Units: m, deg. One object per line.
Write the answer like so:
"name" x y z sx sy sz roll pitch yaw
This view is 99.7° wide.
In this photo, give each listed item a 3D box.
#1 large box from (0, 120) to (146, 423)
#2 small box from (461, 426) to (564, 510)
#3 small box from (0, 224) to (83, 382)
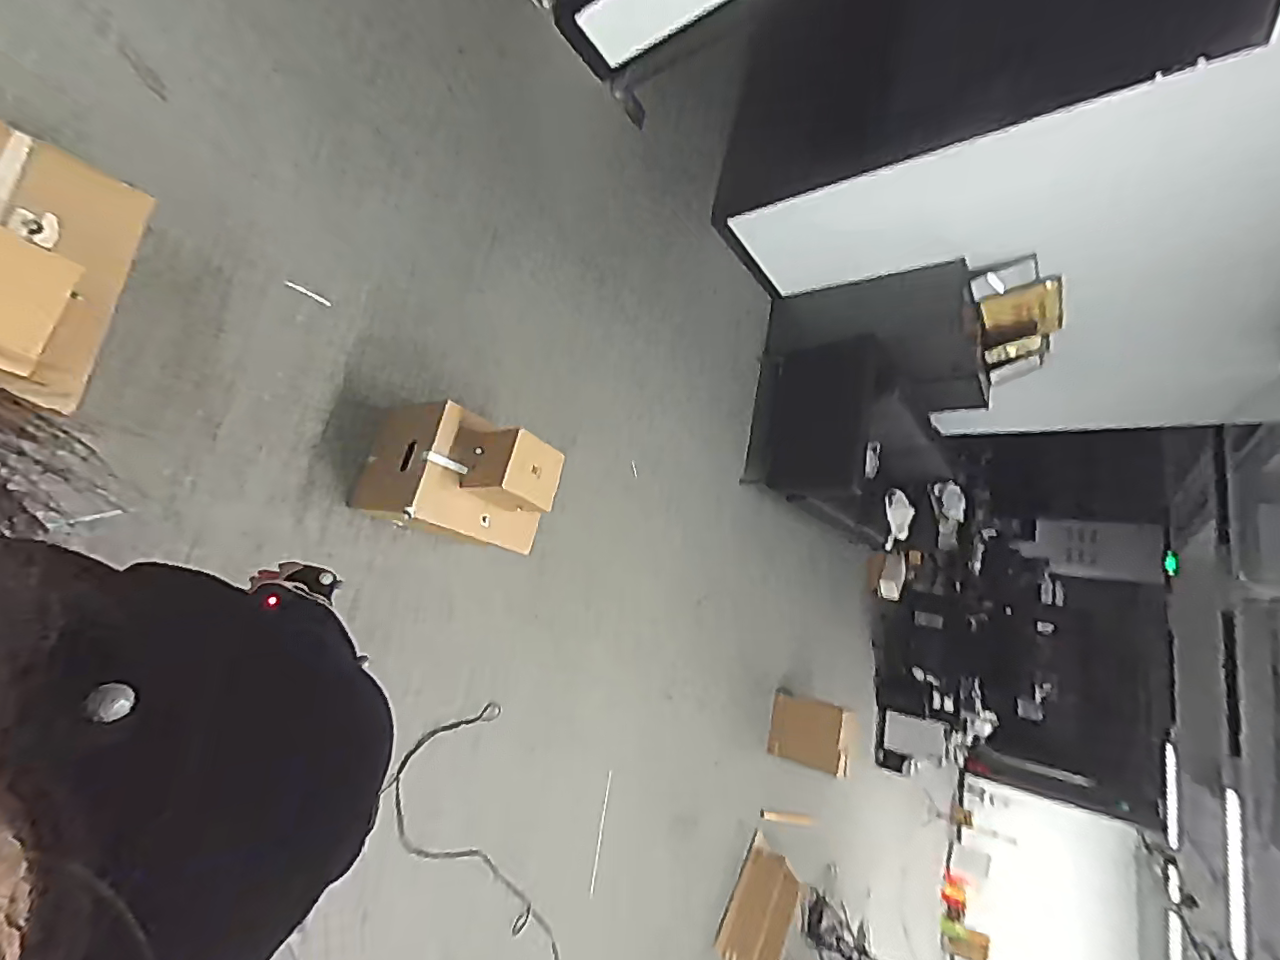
"large box" -1.082 -0.335 0.871 0.320 0.320 0.408 23 72 -50
"small box" -0.336 -0.028 1.432 0.179 0.176 0.168 36 60 -46
"small box" -0.895 -0.245 0.714 0.168 0.176 0.179 28 68 -50
